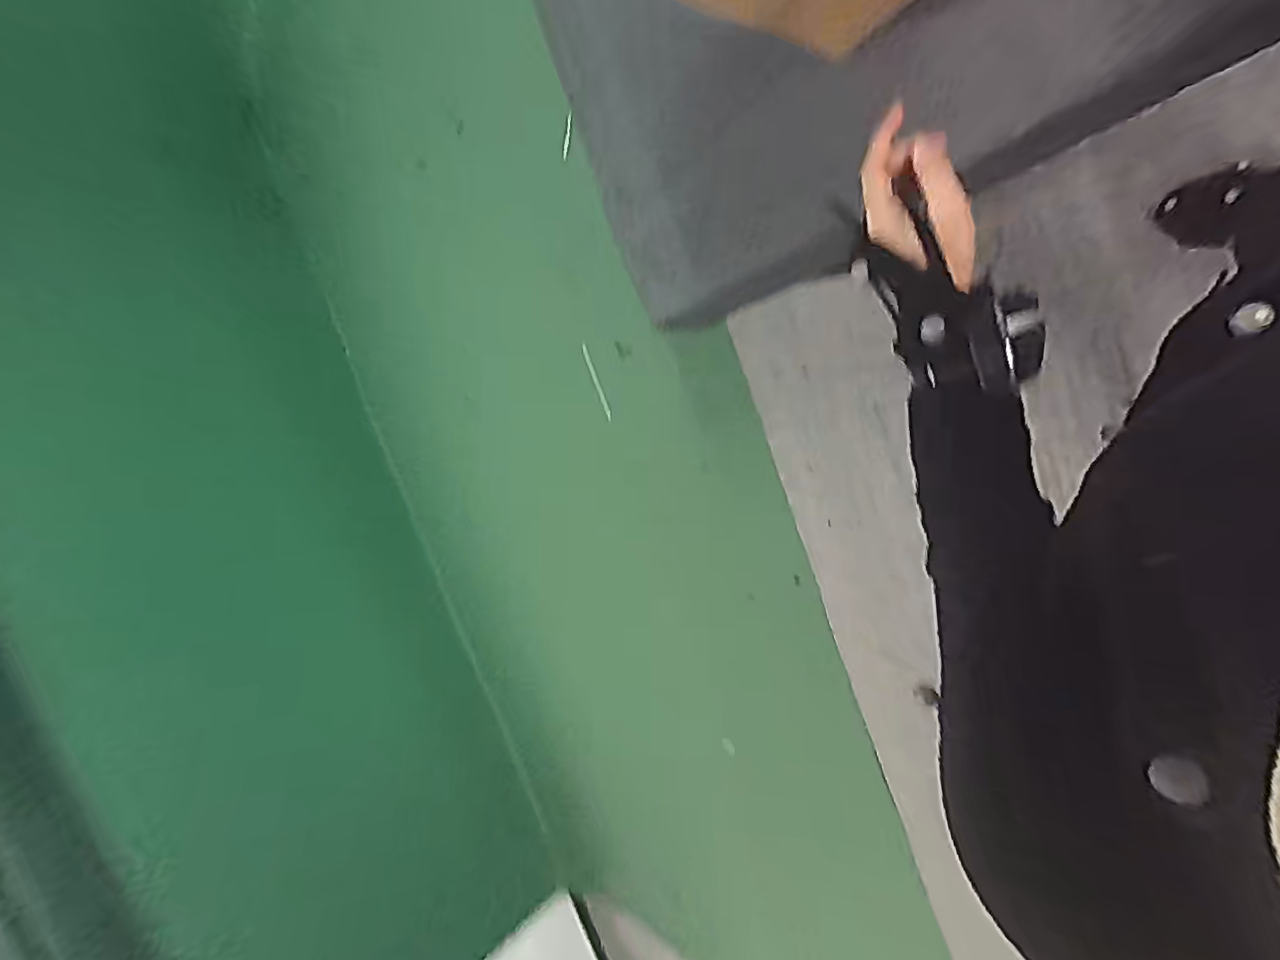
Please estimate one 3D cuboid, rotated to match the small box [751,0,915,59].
[{"bbox_3d":[0.175,-0.496,0.438,0.179,0.176,0.168,-15,95,49],"label":"small box"}]
